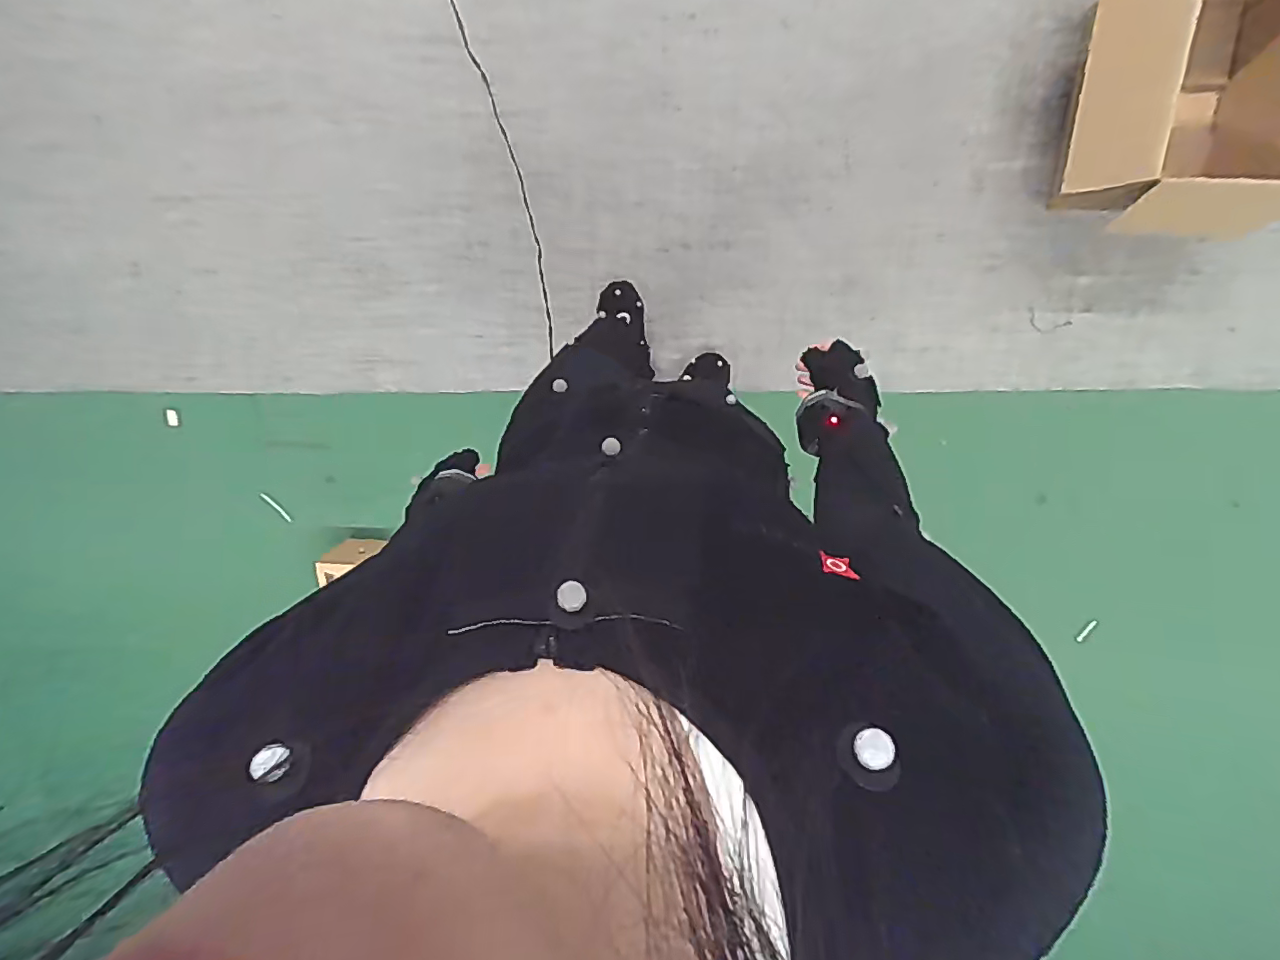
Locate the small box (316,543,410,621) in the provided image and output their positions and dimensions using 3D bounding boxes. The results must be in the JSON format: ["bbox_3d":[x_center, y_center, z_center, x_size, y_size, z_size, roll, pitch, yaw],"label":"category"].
[{"bbox_3d":[-0.796,0.291,1.568,0.179,0.176,0.168,2,107,3],"label":"small box"}]
